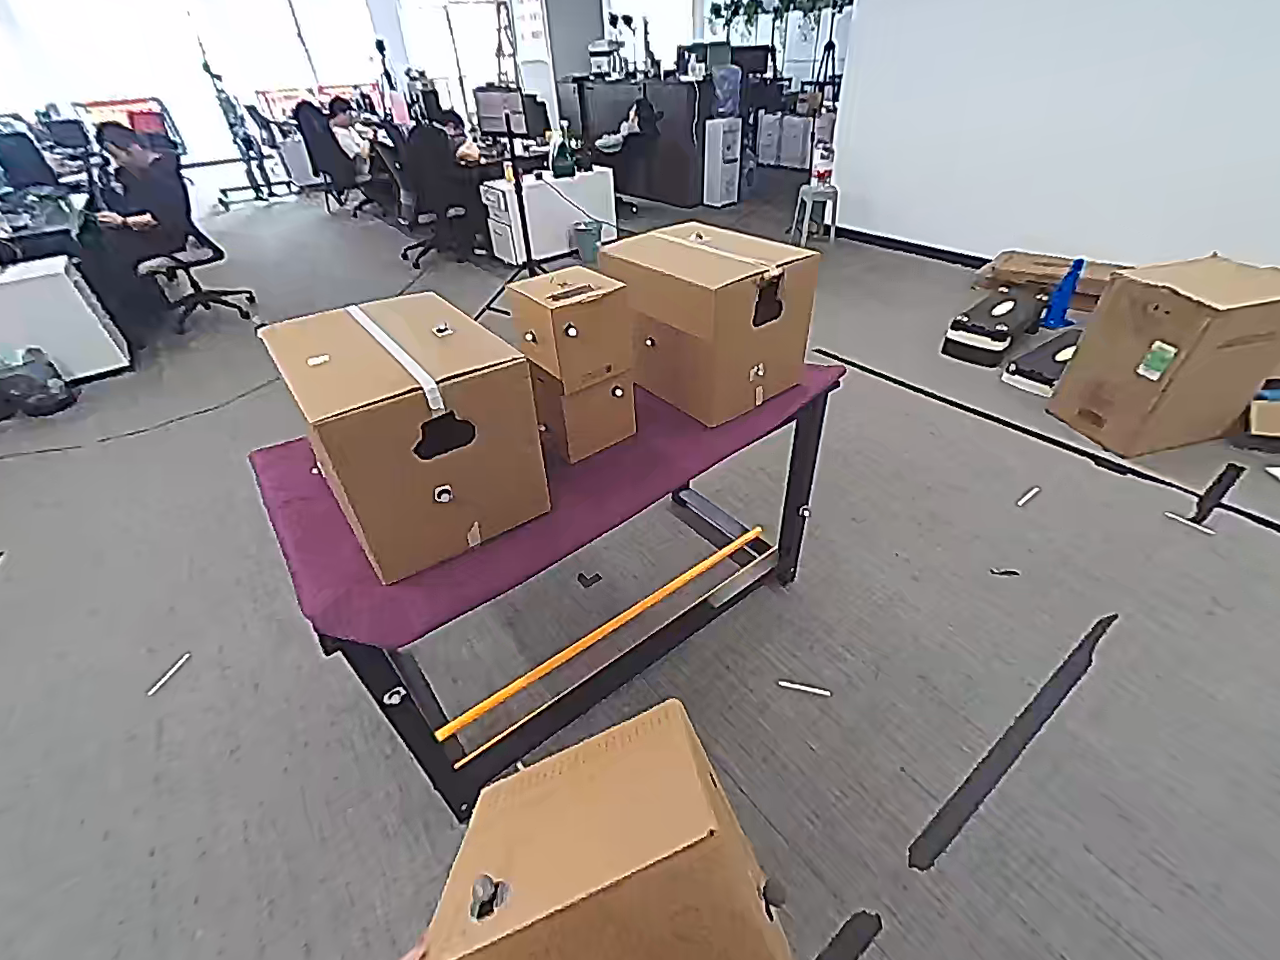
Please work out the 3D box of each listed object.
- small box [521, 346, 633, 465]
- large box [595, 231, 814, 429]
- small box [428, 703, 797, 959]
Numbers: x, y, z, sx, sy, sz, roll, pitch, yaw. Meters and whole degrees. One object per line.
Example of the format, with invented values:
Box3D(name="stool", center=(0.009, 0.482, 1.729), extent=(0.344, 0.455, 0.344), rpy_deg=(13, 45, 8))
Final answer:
Box3D(name="small box", center=(-0.129, -0.162, 1.159), extent=(0.179, 0.176, 0.168), rpy_deg=(-28, 44, -28))
Box3D(name="large box", center=(0.146, -0.373, 1.293), extent=(0.320, 0.320, 0.408), rpy_deg=(-28, 43, -28))
Box3D(name="small box", center=(-0.006, 0.281, 0.355), extent=(0.179, 0.168, 0.176), rpy_deg=(-25, 2, -1))
